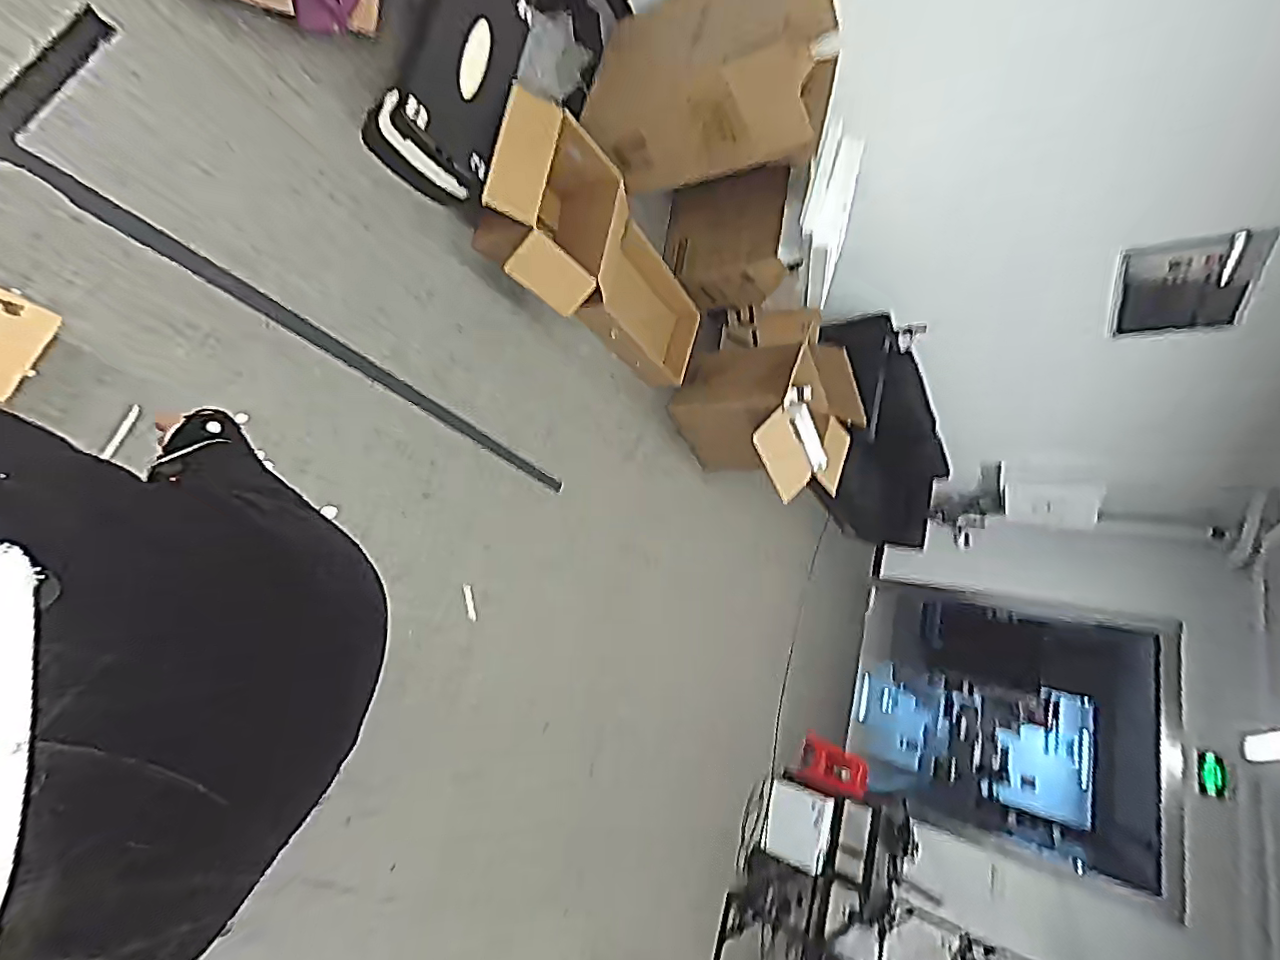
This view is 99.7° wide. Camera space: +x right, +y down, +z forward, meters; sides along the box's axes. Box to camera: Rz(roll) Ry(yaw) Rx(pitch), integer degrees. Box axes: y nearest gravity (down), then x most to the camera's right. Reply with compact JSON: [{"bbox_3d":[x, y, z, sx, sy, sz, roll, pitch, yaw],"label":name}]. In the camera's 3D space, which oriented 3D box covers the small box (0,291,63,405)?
[{"bbox_3d":[-1.138,-0.236,0.911,0.168,0.176,0.179,38,64,-47],"label":"small box"}]
